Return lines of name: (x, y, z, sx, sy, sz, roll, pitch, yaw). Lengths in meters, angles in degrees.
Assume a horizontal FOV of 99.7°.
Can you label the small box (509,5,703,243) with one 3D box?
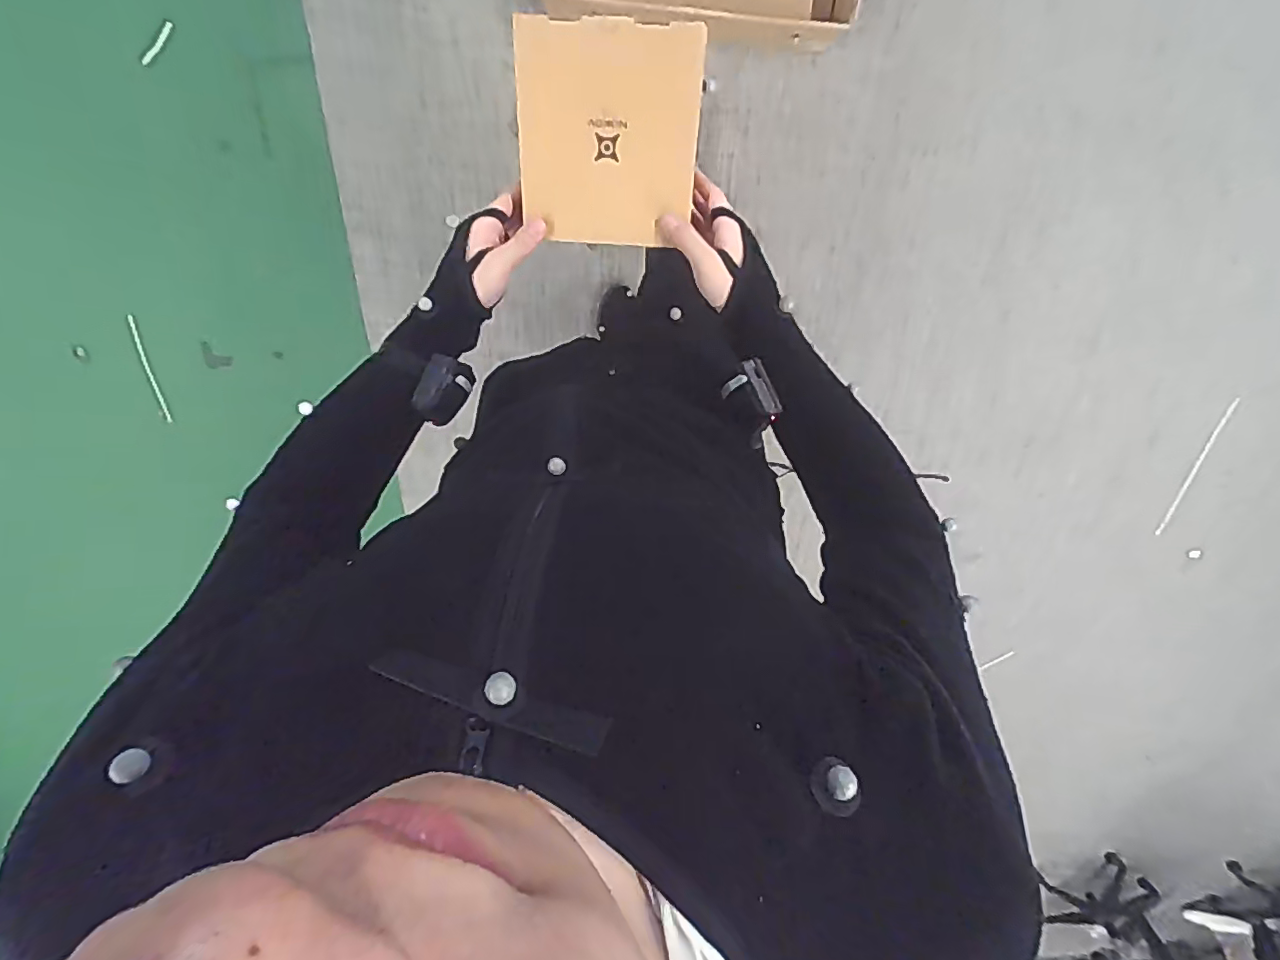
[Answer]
small box: (-0.028, -0.351, 0.557, 0.168, 0.176, 0.179, 3, 119, 1)
